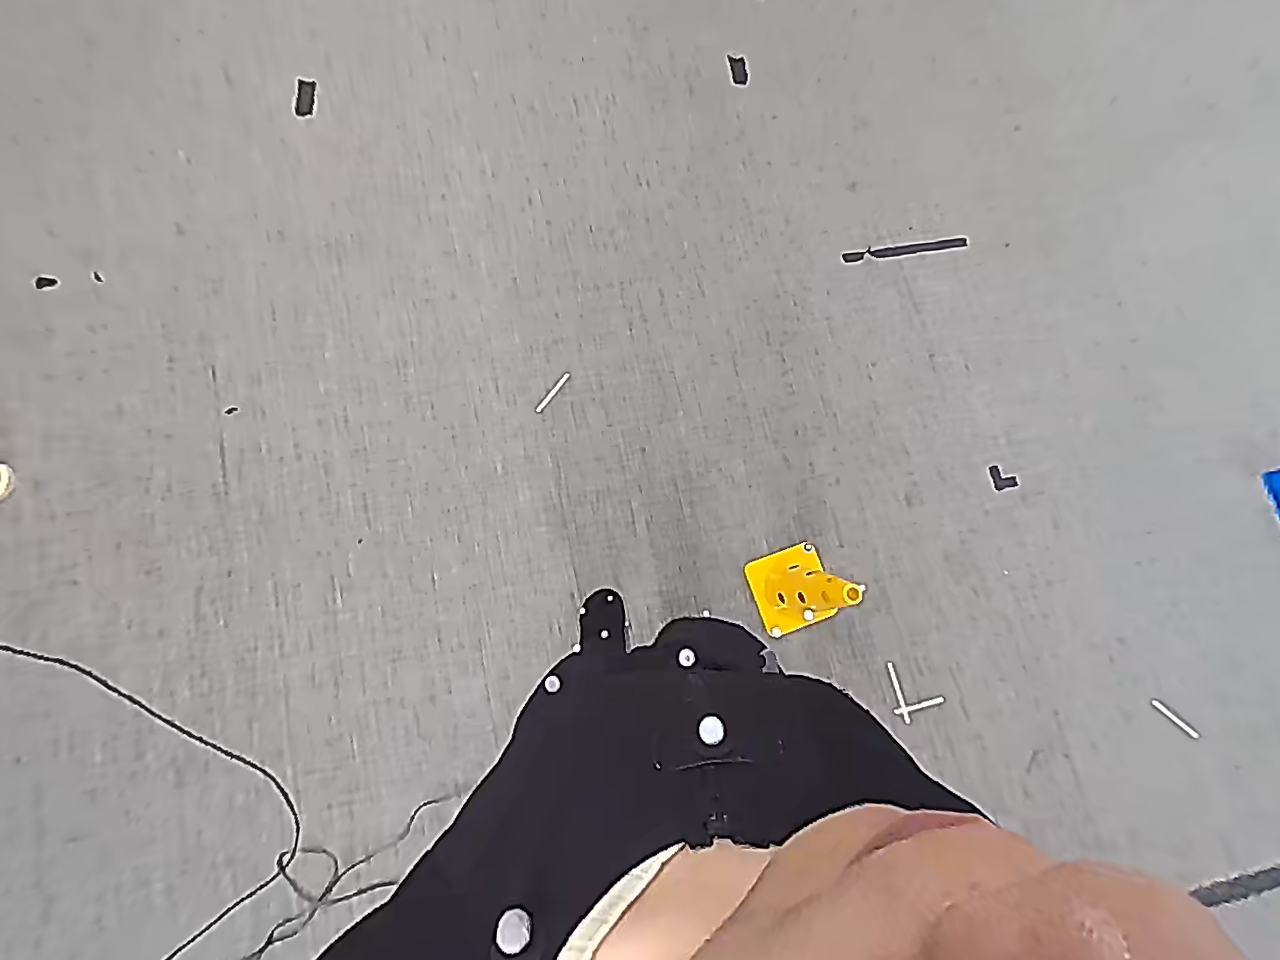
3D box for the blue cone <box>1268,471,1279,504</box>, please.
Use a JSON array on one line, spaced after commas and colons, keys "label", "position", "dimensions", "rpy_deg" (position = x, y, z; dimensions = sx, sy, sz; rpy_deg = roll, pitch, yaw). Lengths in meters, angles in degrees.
[{"label": "blue cone", "position": [1.918, 0.022, 1.383], "dimensions": [0.193, 0.380, 0.192], "rpy_deg": [-11, 80, -6]}]
